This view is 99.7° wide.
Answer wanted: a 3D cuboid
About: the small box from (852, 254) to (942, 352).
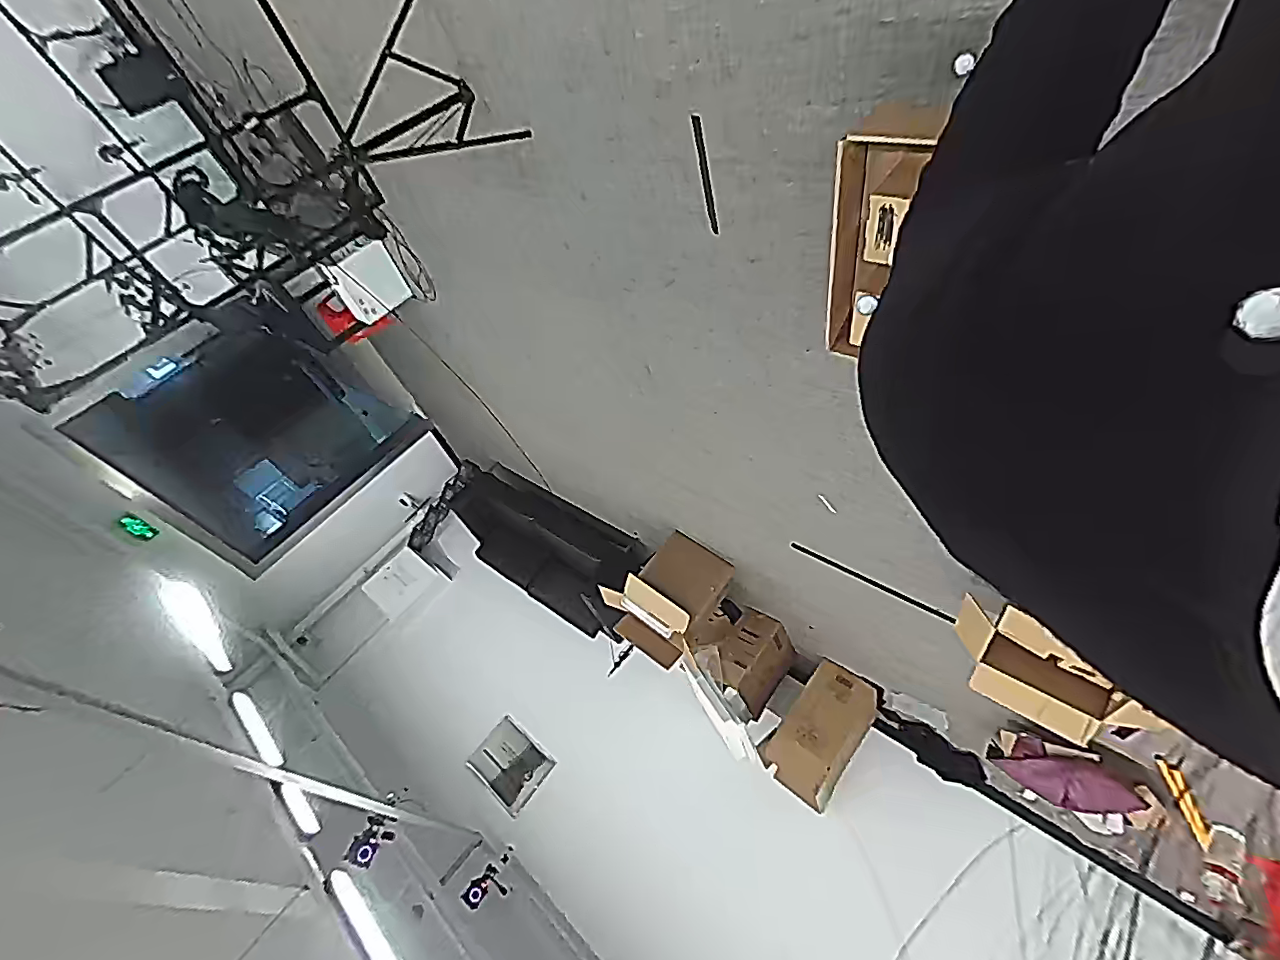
[{"bbox_3d":[0.706,-0.489,1.491,0.168,0.176,0.179,25,151,30],"label":"small box"}]
